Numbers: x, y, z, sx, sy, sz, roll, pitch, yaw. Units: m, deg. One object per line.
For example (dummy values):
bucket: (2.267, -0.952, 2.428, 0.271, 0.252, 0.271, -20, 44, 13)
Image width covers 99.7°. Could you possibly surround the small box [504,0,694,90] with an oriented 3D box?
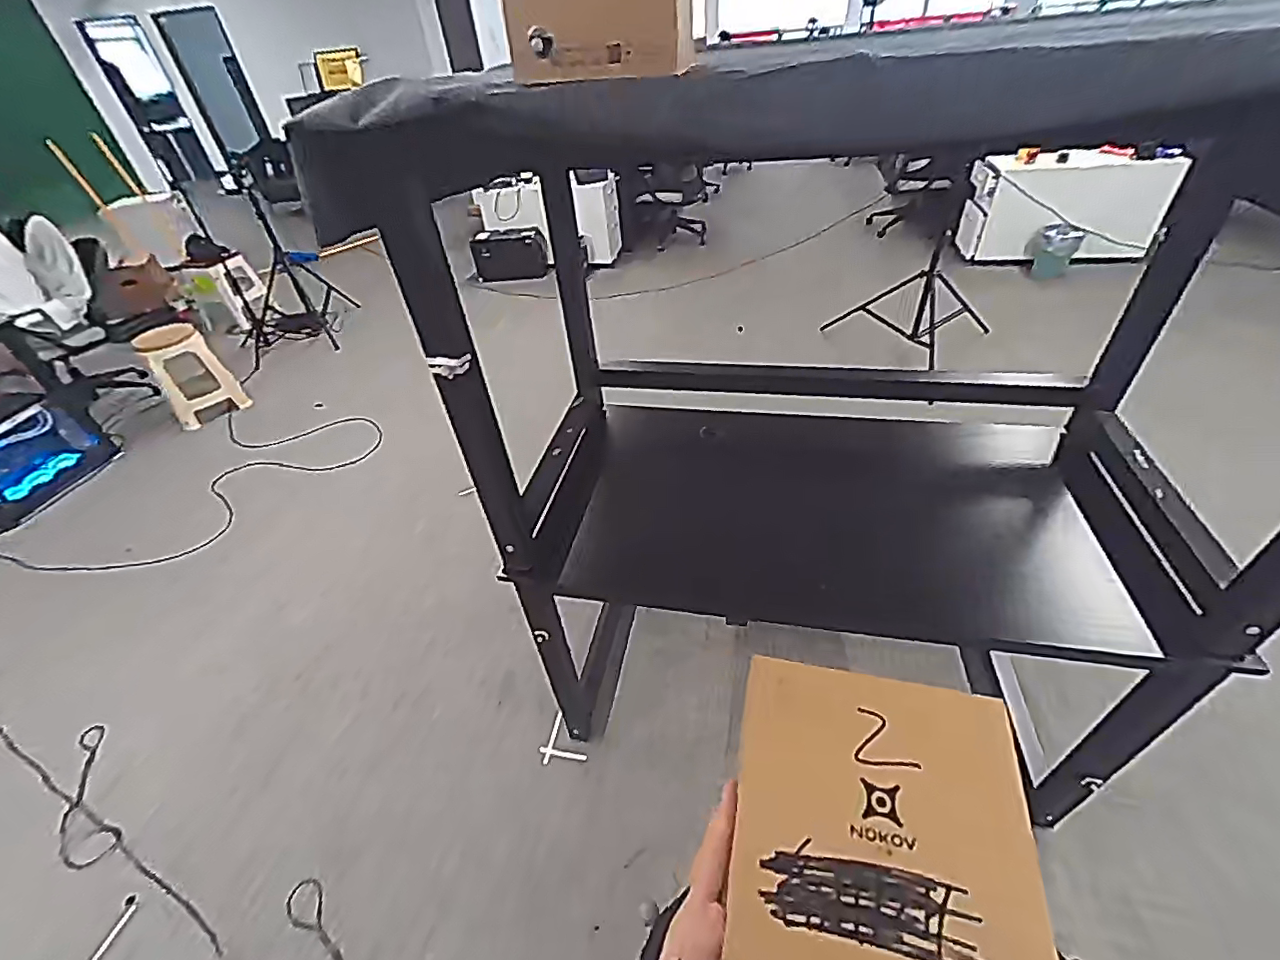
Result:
small box: (-0.035, -0.498, 0.539, 0.168, 0.176, 0.179, 4, 39, 9)
